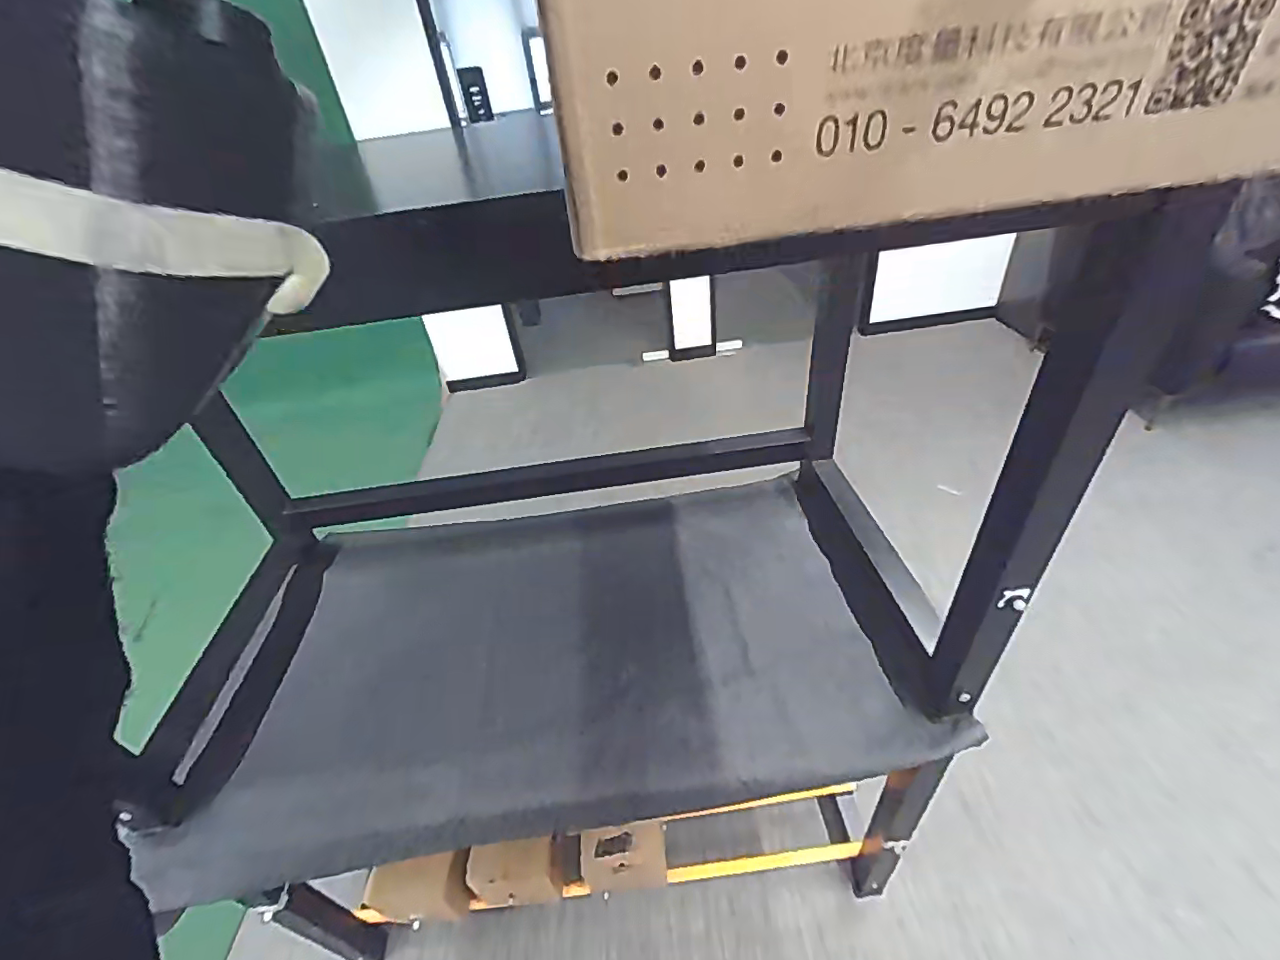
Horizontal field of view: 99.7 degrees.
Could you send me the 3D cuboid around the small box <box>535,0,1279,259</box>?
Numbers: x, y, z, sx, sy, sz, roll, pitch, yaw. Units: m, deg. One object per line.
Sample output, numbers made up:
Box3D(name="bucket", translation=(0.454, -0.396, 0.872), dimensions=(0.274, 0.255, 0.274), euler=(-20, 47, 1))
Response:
Box3D(name="small box", translation=(0.054, -0.165, 0.127), dimensions=(0.168, 0.176, 0.179), euler=(-8, 38, -1))
